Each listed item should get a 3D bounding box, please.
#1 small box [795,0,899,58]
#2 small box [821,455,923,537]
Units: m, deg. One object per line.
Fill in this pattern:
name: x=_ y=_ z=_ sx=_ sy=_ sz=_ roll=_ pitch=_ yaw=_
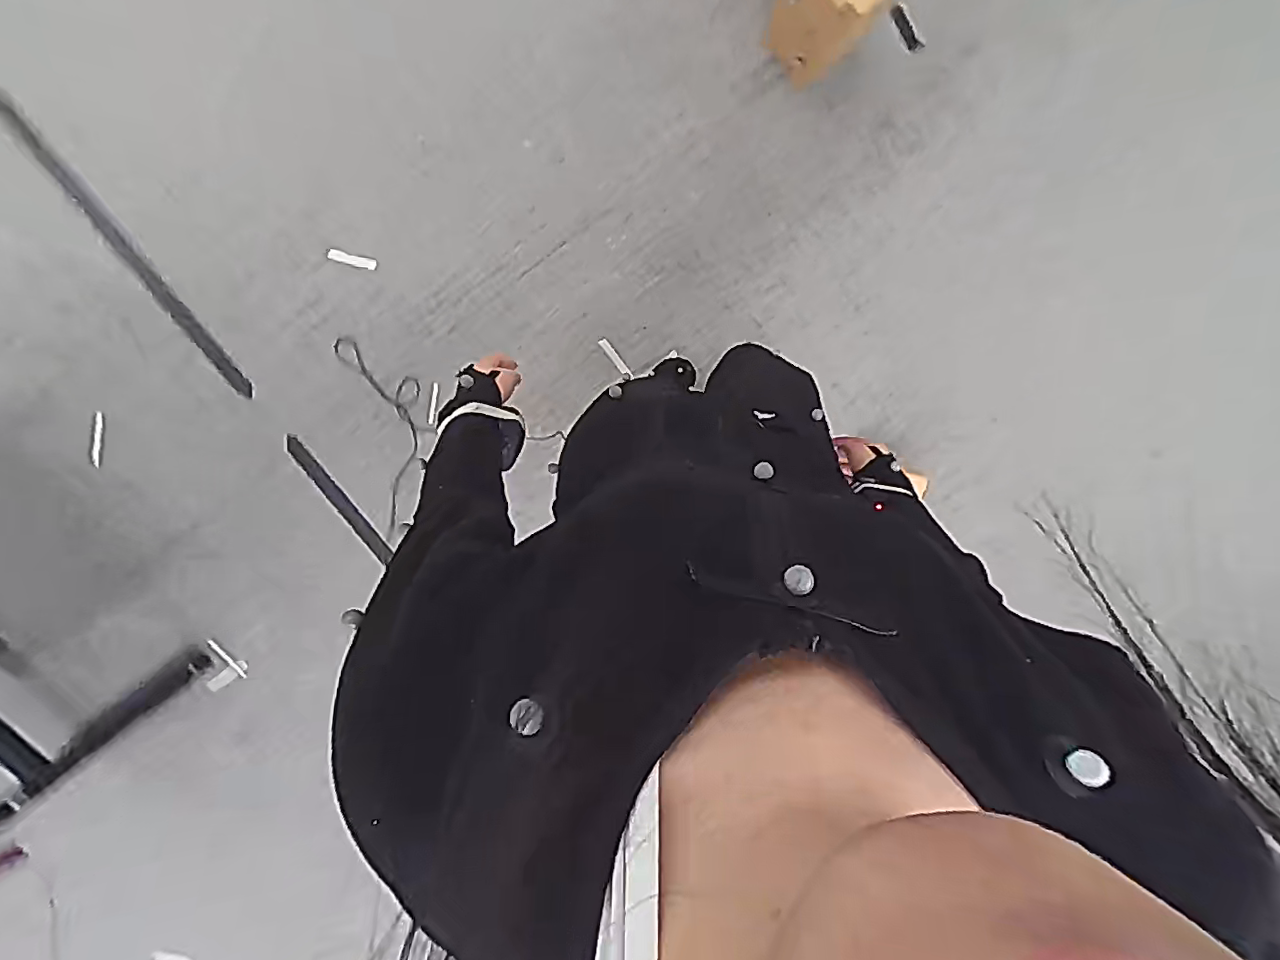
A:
small box: x=0.411 y=-0.962 z=1.024 sx=0.179 sy=0.176 sz=0.168 roll=-37 pitch=103 yaw=7
small box: x=0.618 y=0.037 z=1.460 sx=0.179 sy=0.176 sz=0.168 roll=9 pitch=105 yaw=-4
